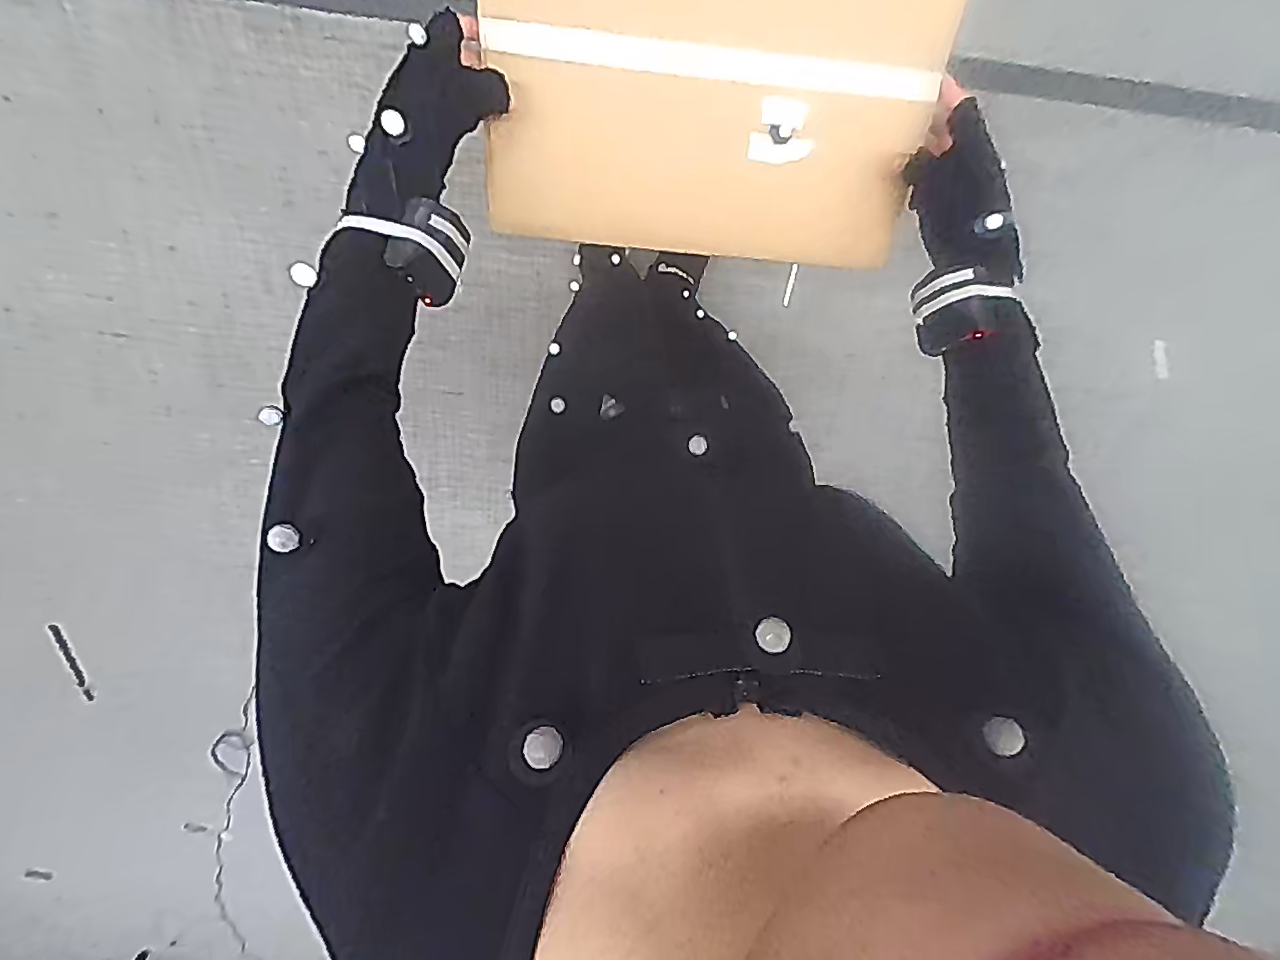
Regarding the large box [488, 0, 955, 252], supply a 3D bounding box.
[{"bbox_3d":[0.058,-0.457,0.600,0.408,0.320,0.320,3,123,-6],"label":"large box"}]
